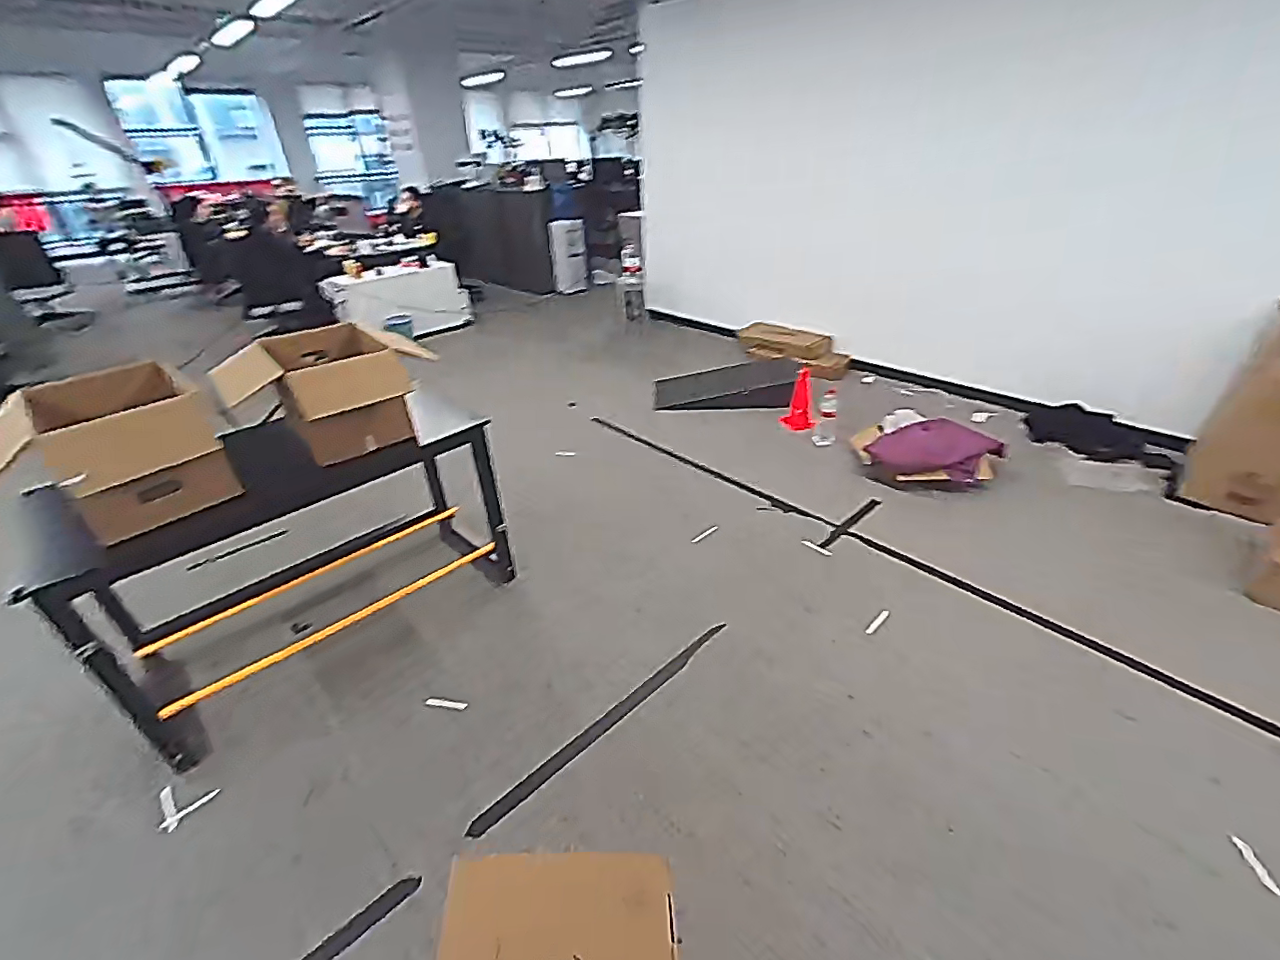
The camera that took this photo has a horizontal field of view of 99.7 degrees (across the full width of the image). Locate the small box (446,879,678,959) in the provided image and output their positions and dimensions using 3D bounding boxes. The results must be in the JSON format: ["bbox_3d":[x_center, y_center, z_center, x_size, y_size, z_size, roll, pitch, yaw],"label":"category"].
[{"bbox_3d":[-0.060,0.443,0.433,0.179,0.176,0.168,-1,41,-4],"label":"small box"}]
